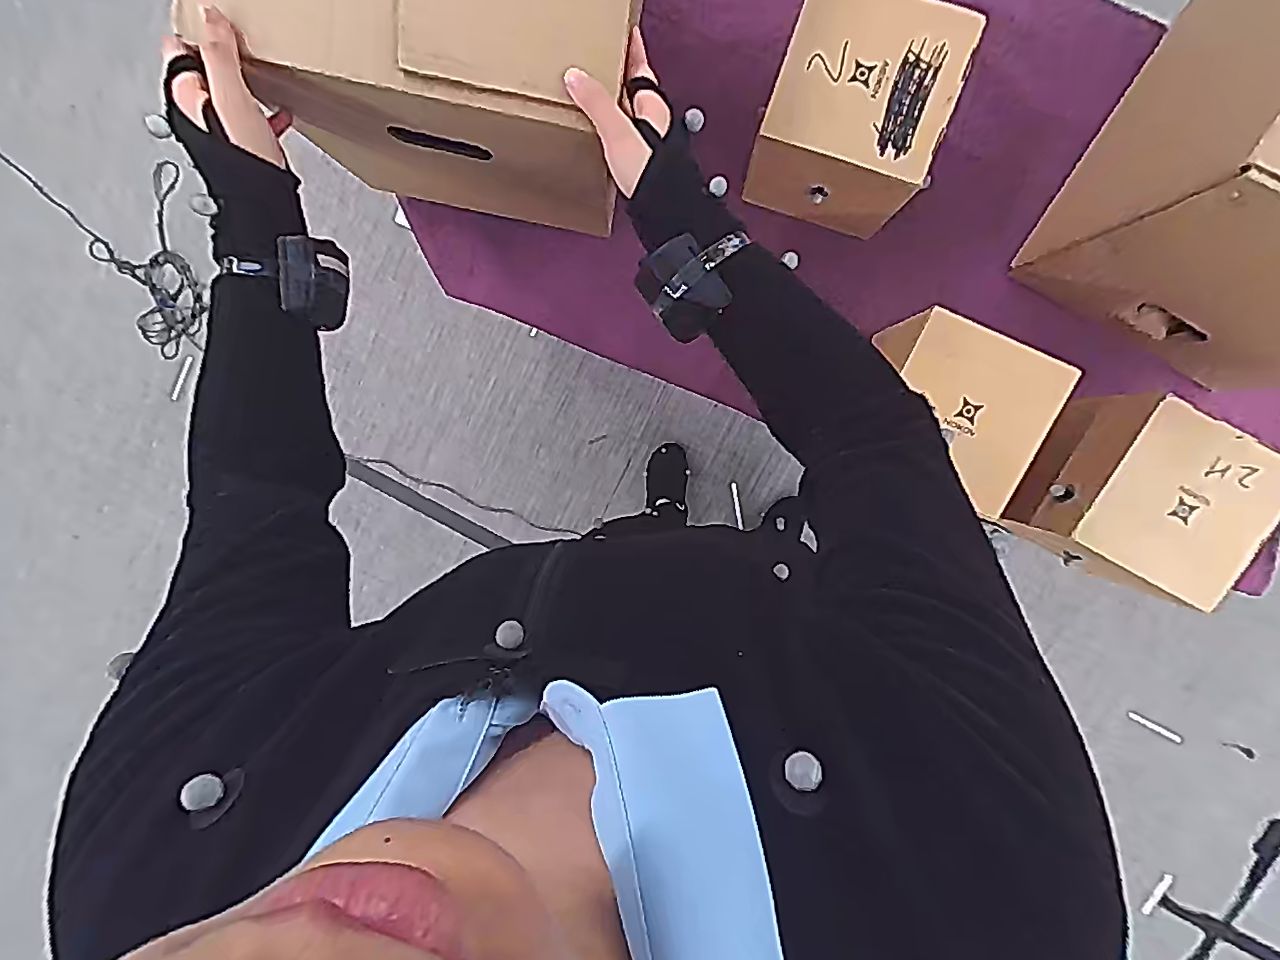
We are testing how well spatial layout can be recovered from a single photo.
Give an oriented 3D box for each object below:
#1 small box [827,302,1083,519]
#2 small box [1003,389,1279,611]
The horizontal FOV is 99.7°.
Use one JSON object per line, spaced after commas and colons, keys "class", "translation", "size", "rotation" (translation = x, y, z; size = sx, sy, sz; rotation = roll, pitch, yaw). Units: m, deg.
{"class": "small box", "translation": [0.344, -0.079, 0.635], "size": [0.168, 0.176, 0.179], "rotation": [25, 98, 2]}
{"class": "small box", "translation": [0.562, 0.016, 0.625], "size": [0.168, 0.176, 0.179], "rotation": [30, 96, 1]}
